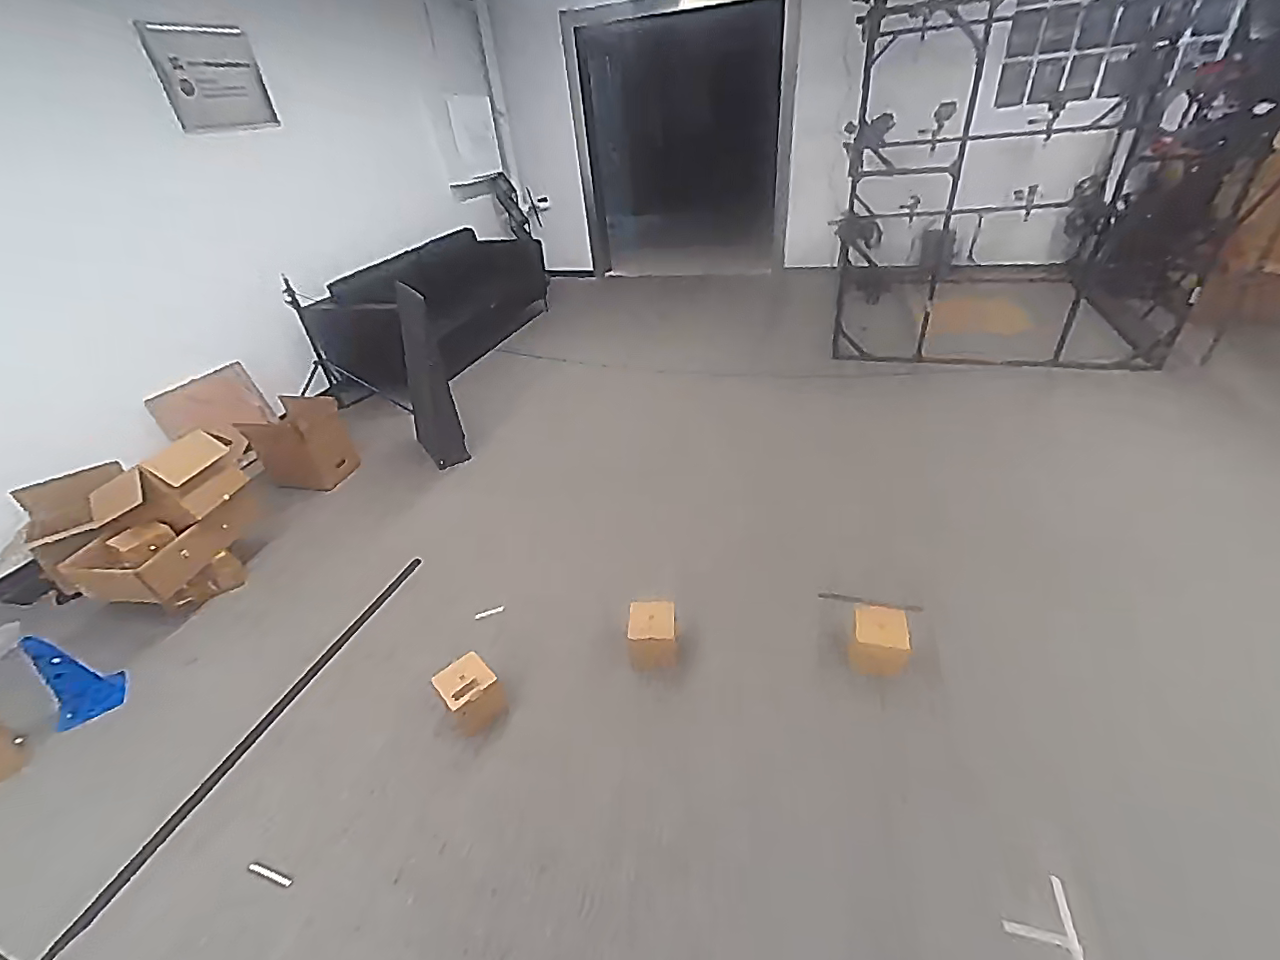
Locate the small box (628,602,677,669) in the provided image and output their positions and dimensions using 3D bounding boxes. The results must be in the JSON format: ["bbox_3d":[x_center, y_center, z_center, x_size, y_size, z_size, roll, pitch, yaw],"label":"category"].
[{"bbox_3d":[0.050,0.573,1.993,0.168,0.176,0.179,-2,35,6],"label":"small box"}]

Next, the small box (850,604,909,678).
[{"bbox_3d":[0.828,0.561,1.882,0.168,0.176,0.179,5,35,17],"label":"small box"}]
